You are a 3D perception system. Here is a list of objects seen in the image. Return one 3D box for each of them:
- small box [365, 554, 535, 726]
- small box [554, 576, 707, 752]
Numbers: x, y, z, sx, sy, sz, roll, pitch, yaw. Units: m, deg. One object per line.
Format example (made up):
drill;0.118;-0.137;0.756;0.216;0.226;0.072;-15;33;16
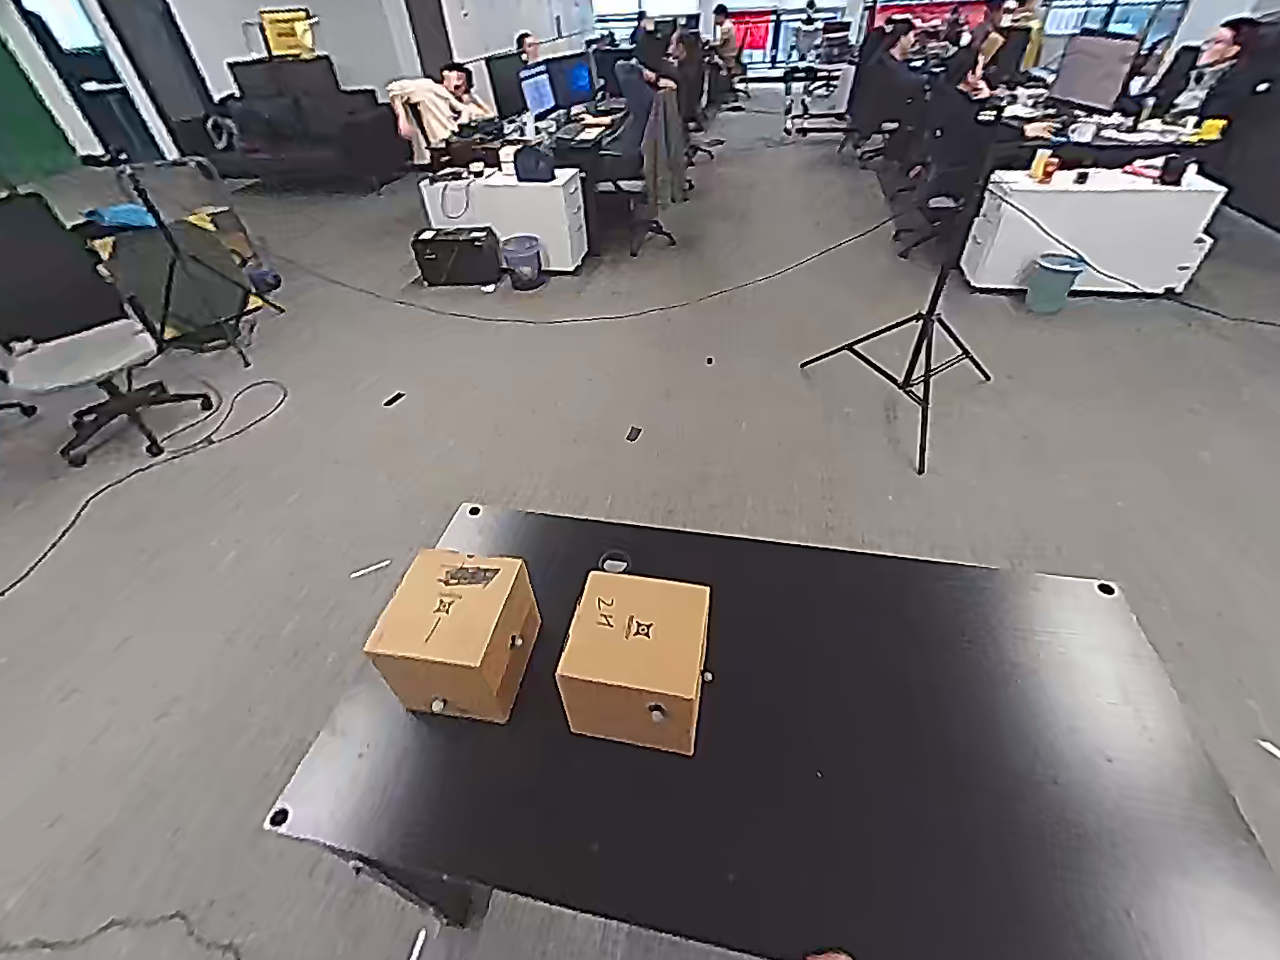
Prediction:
small box;-0.266;0.237;0.808;0.168;0.176;0.179;4;44;9
small box;-0.004;0.261;0.764;0.179;0.176;0.168;6;42;10
